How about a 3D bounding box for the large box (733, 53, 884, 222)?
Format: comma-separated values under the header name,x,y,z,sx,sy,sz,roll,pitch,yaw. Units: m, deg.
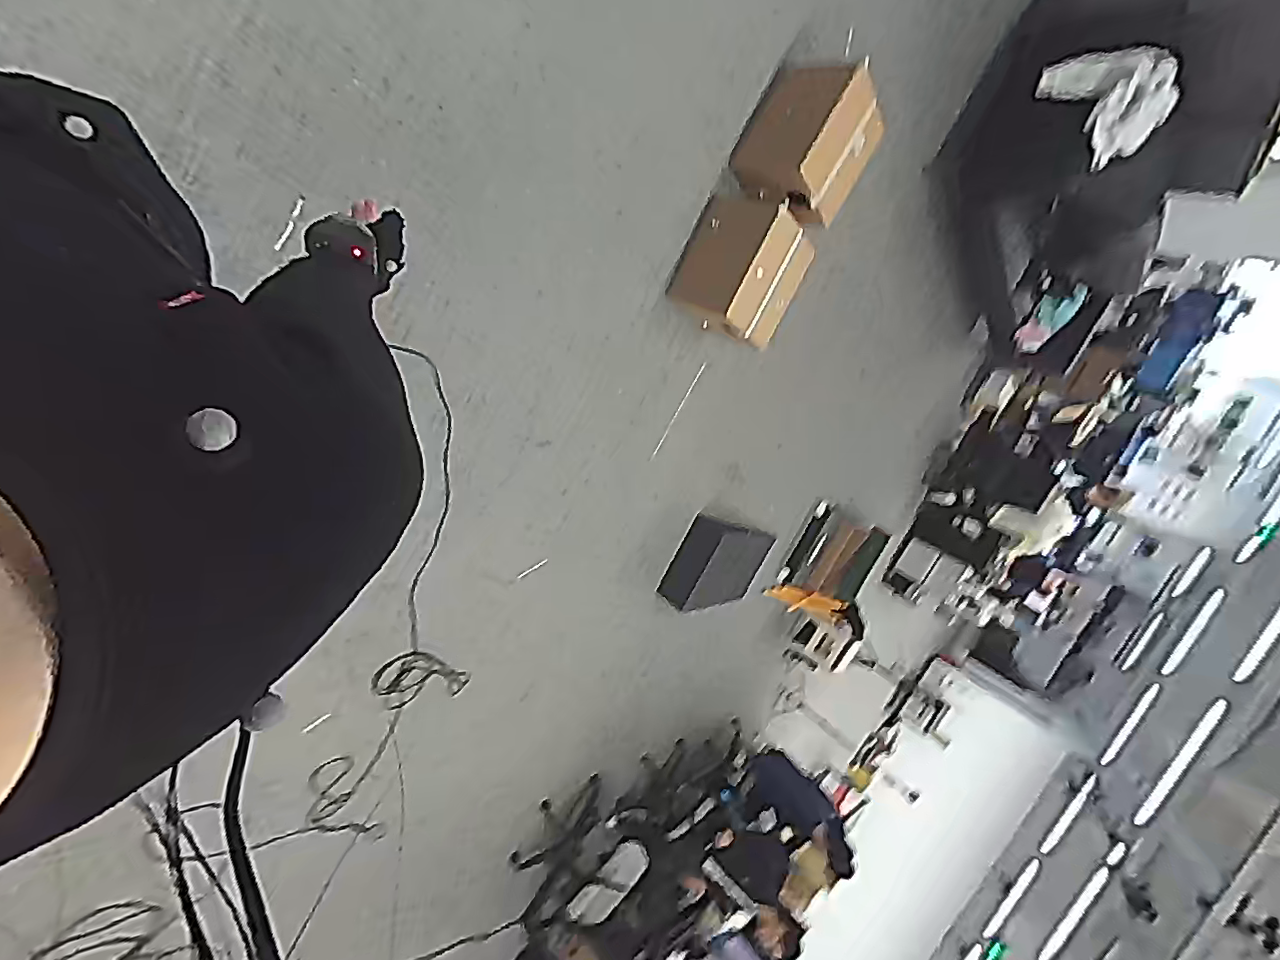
name,x,y,z,sx,sy,sz,roll,pitch,yaw
large box,0.606,-1.215,1.951,0.320,0.320,0.408,26,95,-52
